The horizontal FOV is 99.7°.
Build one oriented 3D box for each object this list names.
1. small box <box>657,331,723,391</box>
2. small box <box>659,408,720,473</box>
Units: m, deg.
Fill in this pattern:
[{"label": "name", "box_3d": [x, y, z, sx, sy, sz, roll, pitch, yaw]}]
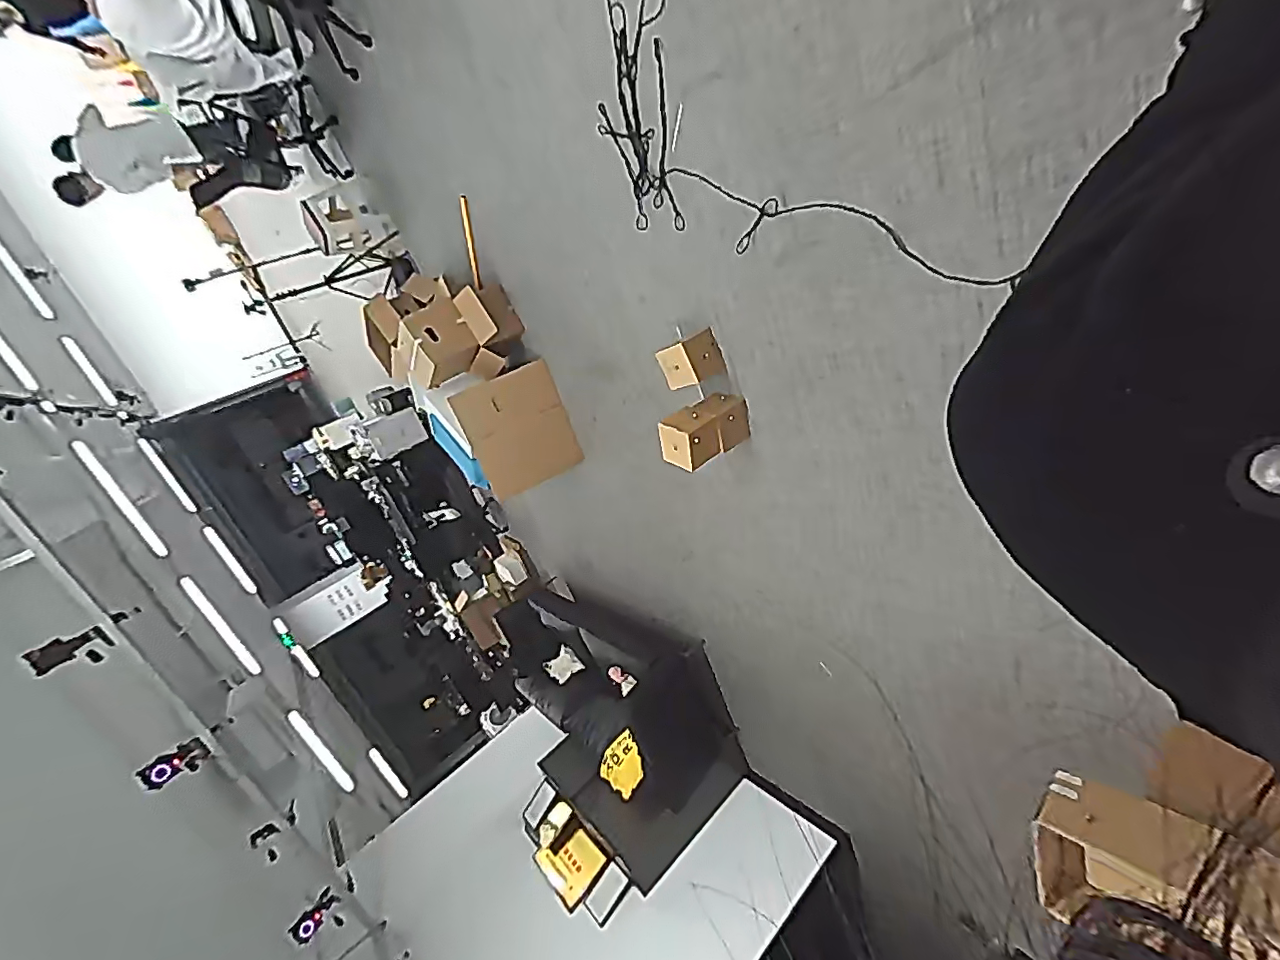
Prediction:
[{"label": "small box", "box_3d": [0.206, -0.474, 2.146, 0.179, 0.176, 0.168, -3, 117, 57]}, {"label": "small box", "box_3d": [0.201, -0.160, 2.137, 0.168, 0.176, 0.179, 27, 138, 42]}]
